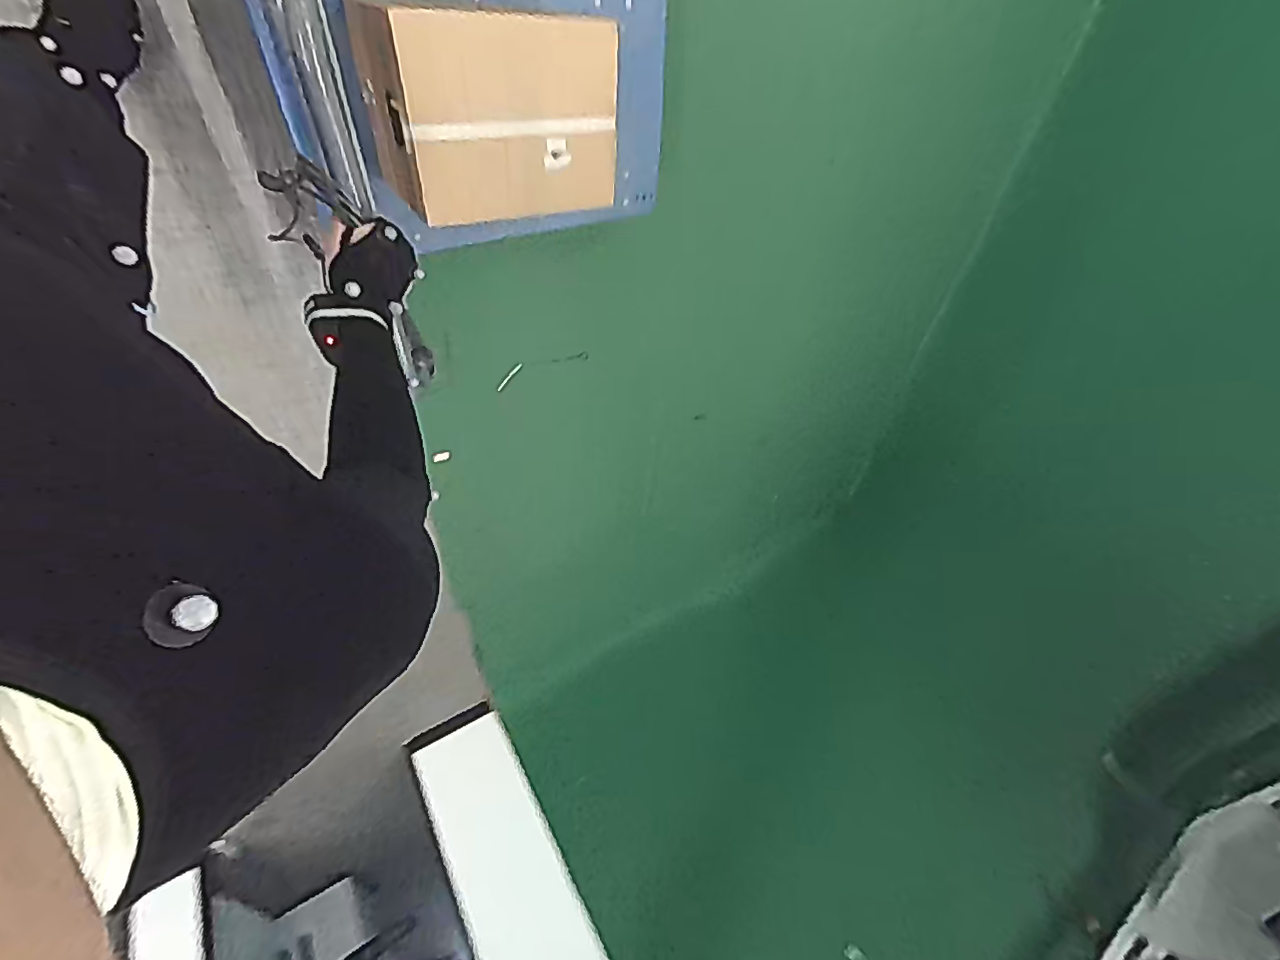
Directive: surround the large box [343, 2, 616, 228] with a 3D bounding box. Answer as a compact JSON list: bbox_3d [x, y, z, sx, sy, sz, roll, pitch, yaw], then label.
[{"bbox_3d":[-0.300,-0.730,1.071,0.408,0.320,0.320,-22,140,-27],"label":"large box"}]
